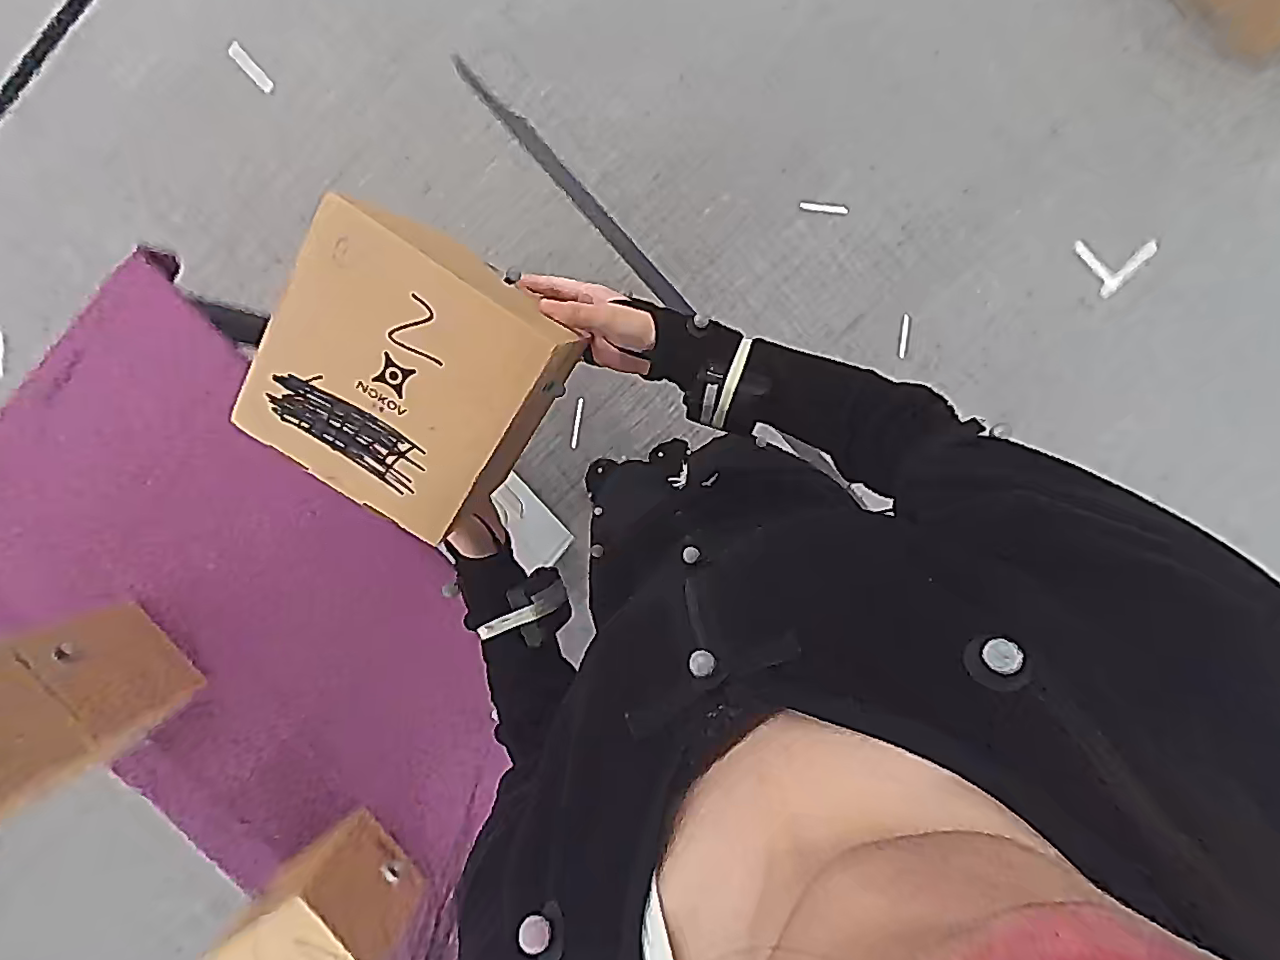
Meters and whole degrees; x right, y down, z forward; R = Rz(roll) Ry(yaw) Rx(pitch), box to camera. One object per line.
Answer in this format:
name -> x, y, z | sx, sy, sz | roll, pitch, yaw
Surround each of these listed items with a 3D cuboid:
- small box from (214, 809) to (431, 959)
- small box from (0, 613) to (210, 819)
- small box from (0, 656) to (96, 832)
small box -> -0.439, 0.631, 0.777 | 0.179, 0.176, 0.168 | -38, 94, 4
small box -> -0.774, 0.309, 0.755 | 0.168, 0.176, 0.179 | -40, 94, 6
small box -> -0.780, 0.328, 0.592 | 0.168, 0.176, 0.179 | -39, 94, 5
